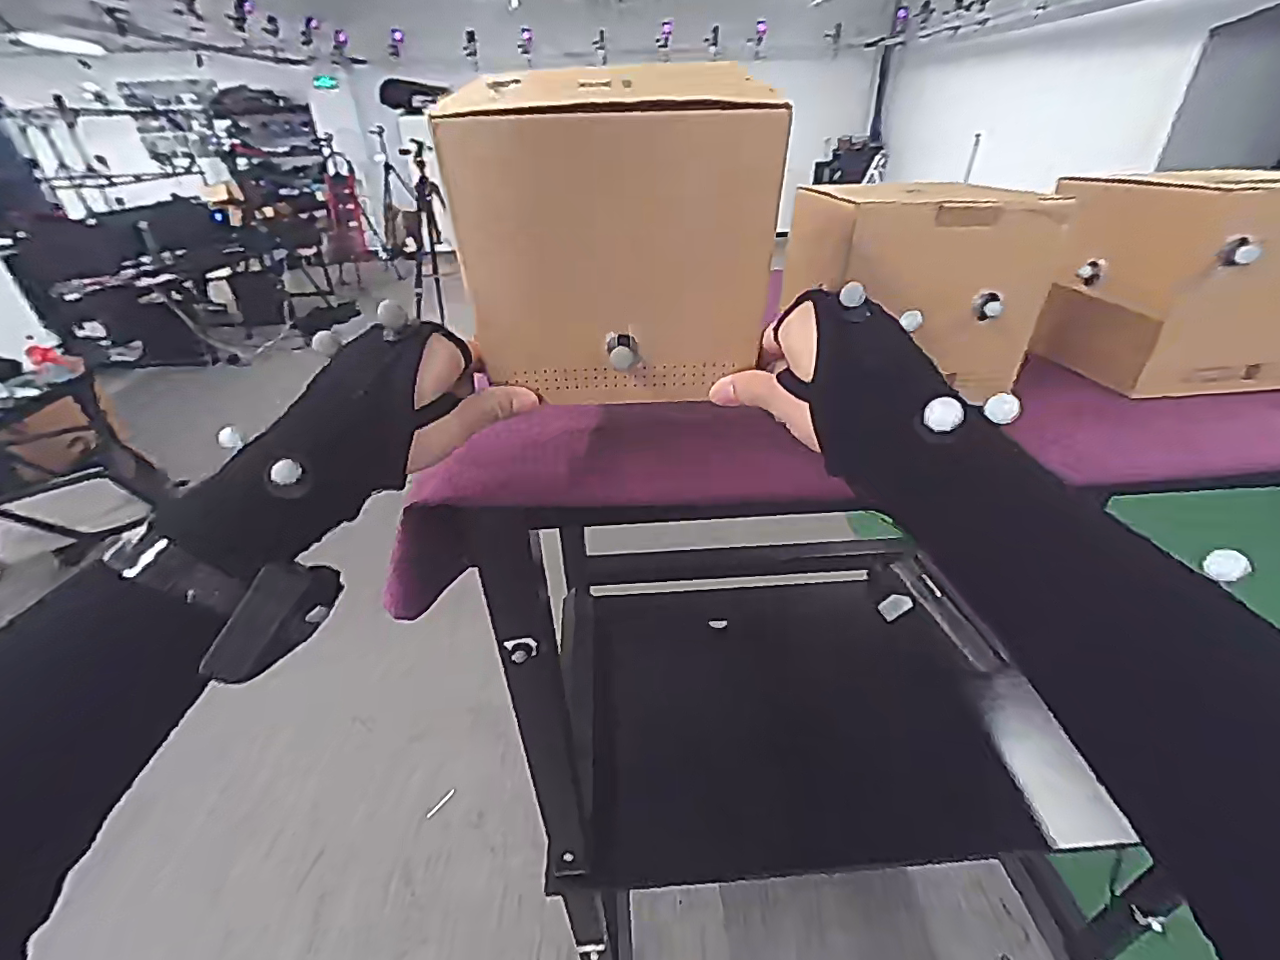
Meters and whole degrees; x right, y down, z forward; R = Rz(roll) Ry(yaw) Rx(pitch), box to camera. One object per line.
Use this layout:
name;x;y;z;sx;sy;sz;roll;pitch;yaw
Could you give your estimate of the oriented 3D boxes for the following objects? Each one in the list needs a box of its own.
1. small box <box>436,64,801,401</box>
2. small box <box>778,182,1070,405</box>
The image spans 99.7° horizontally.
small box;-0.011;-0.166;0.366;0.179;0.176;0.168;-2;41;-1
small box;0.236;-0.177;0.506;0.168;0.176;0.179;-1;31;-1
